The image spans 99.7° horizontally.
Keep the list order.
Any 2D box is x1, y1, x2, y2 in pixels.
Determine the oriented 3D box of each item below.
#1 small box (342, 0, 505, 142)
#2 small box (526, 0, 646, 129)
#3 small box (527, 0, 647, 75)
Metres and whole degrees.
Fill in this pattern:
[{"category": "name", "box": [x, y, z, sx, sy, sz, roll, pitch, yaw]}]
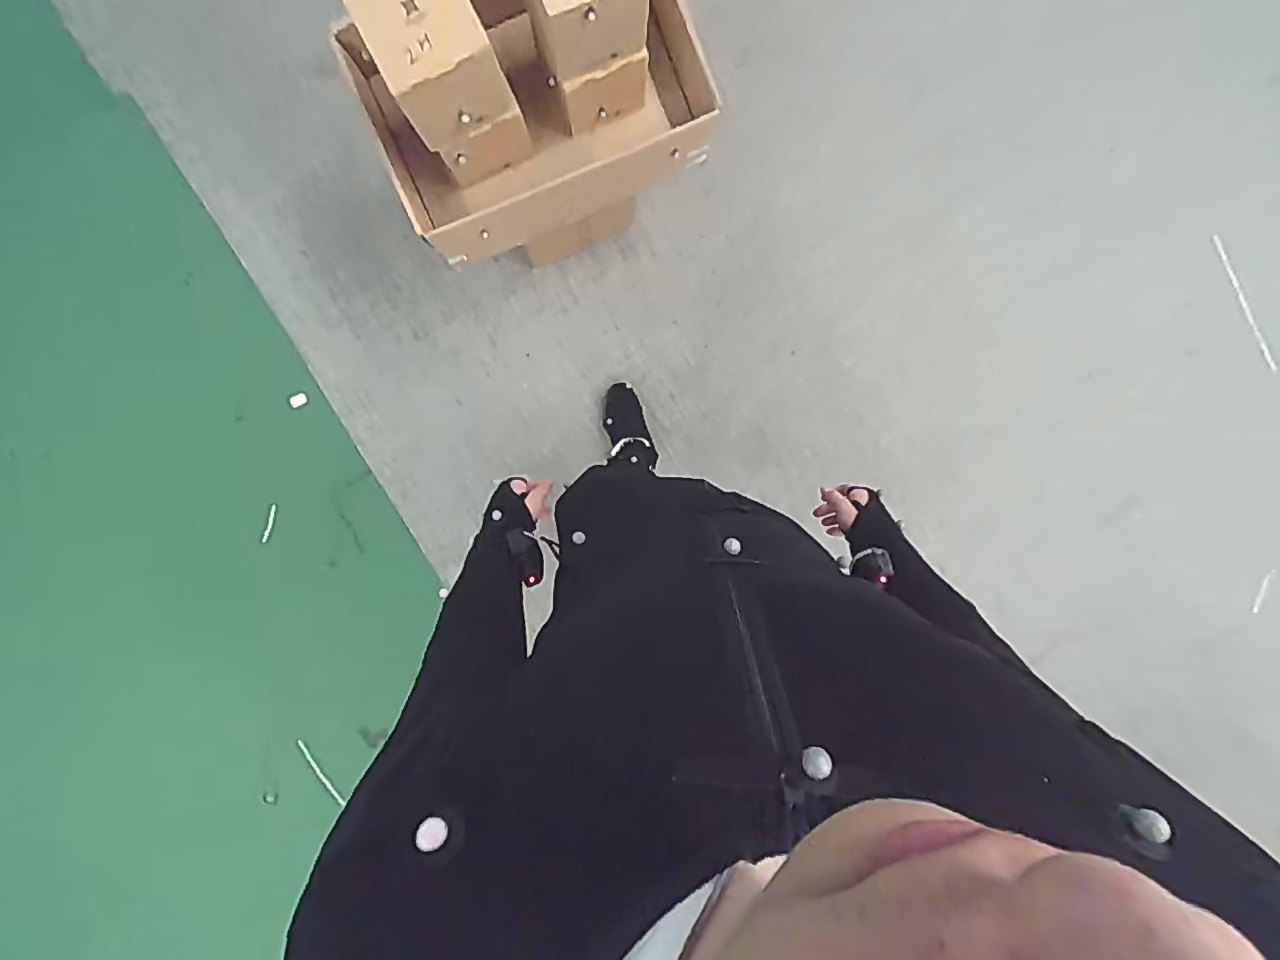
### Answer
[{"category": "small box", "box": [-0.335, -0.683, 0.848, 0.168, 0.176, 0.179, -27, 98, 1]}, {"category": "small box", "box": [-0.103, -0.811, 1.014, 0.168, 0.176, 0.179, -24, 99, 0]}, {"category": "small box", "box": [-0.097, -0.797, 0.850, 0.168, 0.176, 0.179, -22, 98, 0]}]
